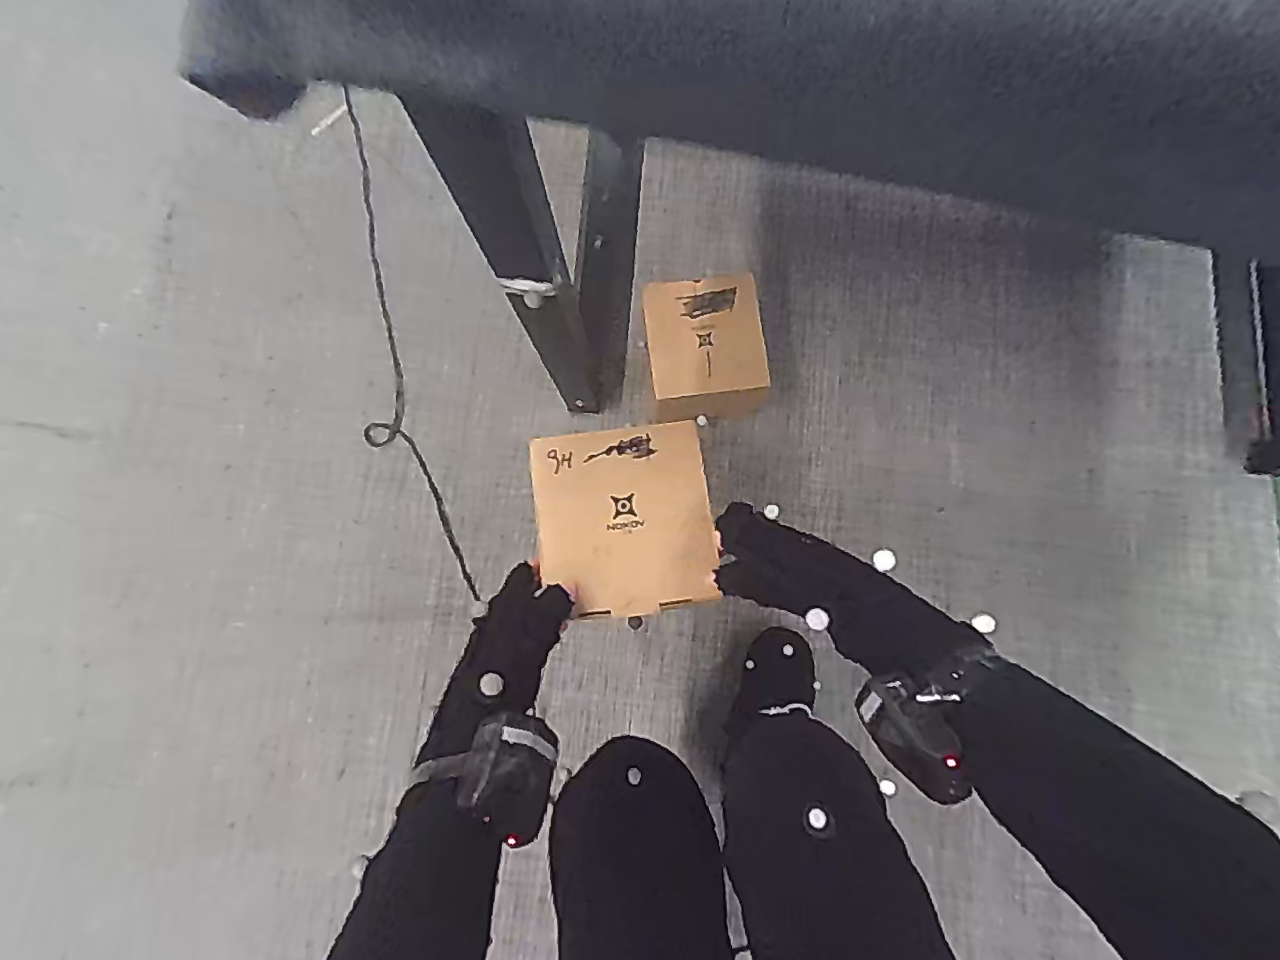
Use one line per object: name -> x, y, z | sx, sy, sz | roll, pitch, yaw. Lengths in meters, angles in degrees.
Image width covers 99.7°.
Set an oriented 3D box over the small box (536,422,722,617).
small box -> -0.014, 0.054, 0.595 | 0.168, 0.176, 0.179 | -7, 74, -4
